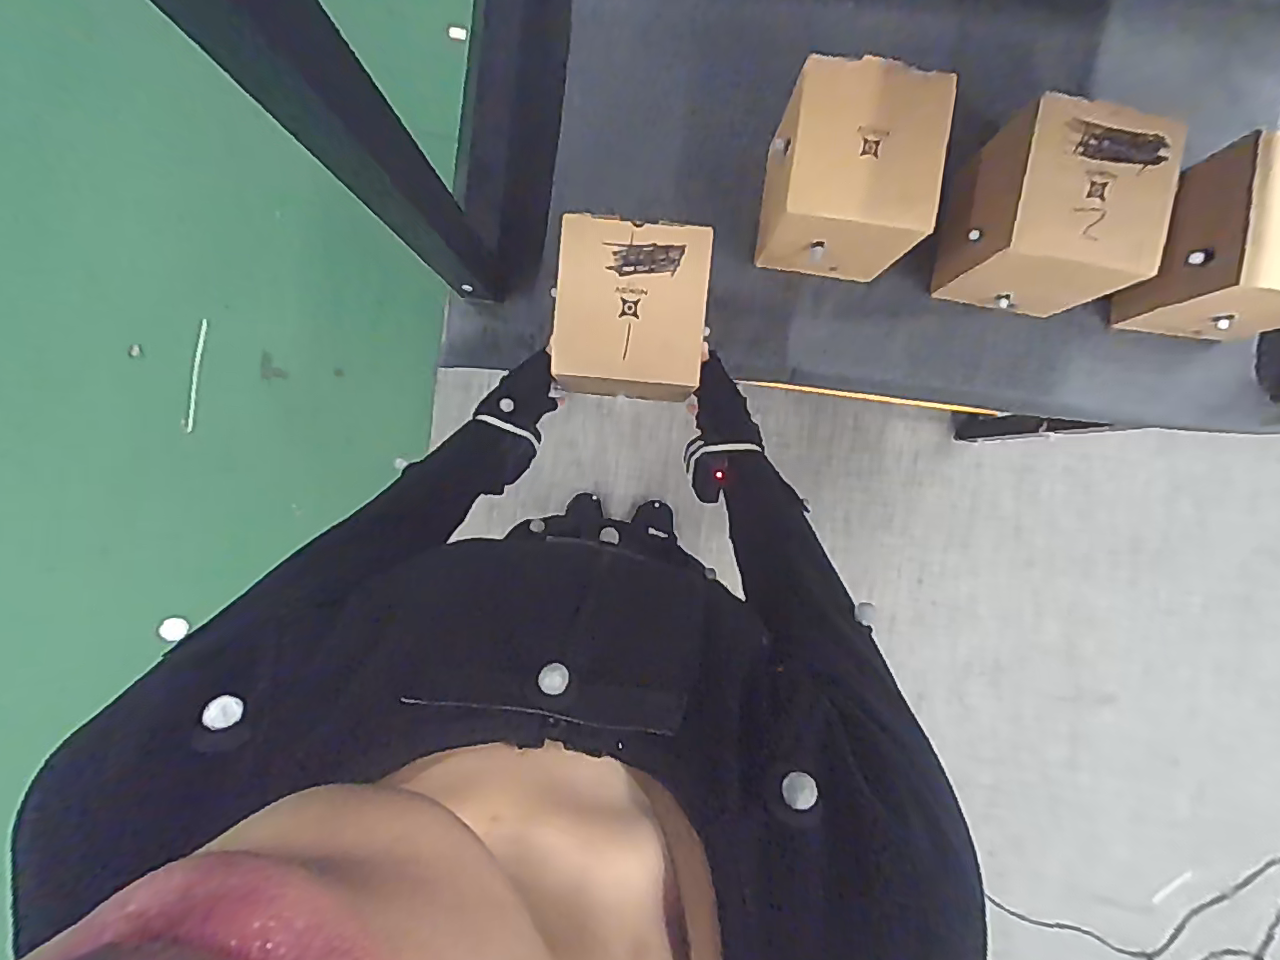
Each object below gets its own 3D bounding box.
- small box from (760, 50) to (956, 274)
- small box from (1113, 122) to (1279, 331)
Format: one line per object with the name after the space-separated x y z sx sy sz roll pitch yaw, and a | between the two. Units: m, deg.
0.253 -0.375 0.671 0.168 0.176 0.179 8 91 0 | small box
0.740 -0.295 0.668 0.168 0.176 0.179 7 90 0 | small box
